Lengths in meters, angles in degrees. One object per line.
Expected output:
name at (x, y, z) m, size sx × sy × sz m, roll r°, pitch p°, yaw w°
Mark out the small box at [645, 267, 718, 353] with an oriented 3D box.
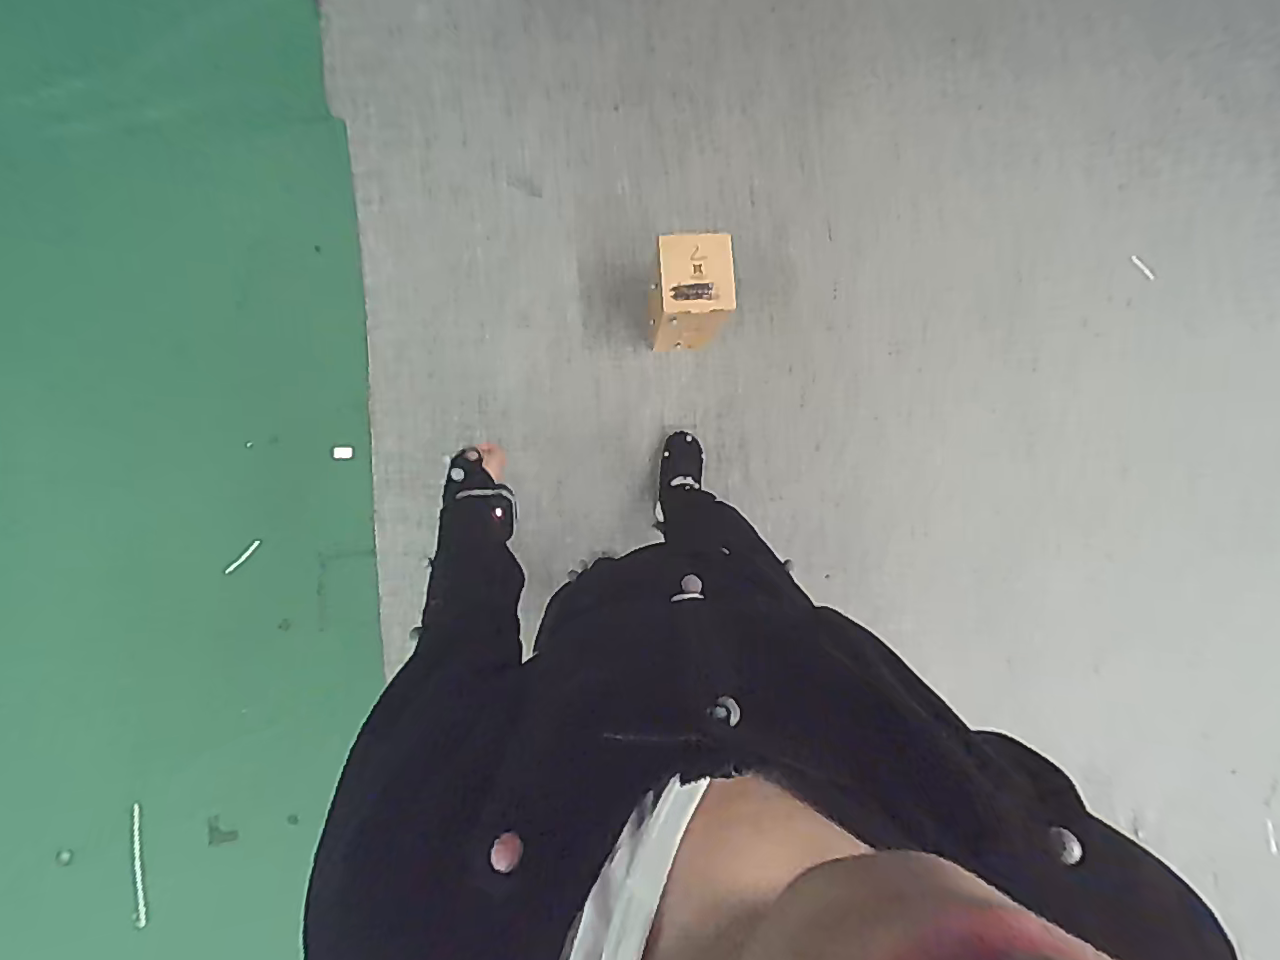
small box at (0.105, -0.451, 1.450) m, size 0.168 × 0.176 × 0.179 m, roll -4°, pitch 89°, yaw -5°
